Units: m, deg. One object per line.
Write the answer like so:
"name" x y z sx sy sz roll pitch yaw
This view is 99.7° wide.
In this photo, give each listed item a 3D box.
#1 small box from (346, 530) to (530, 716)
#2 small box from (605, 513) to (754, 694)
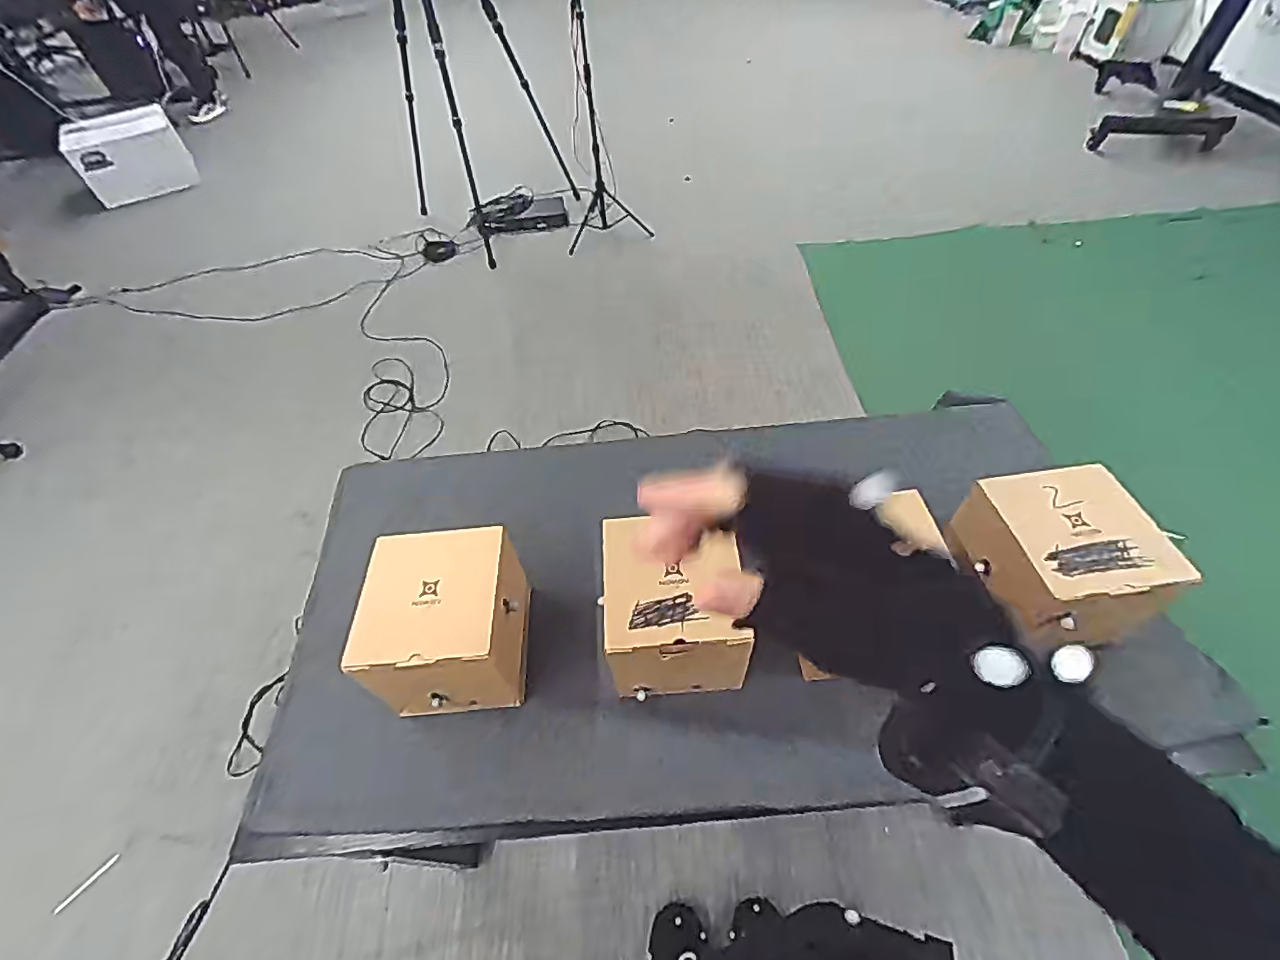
"small box" -0.242 0.187 0.703 0.168 0.176 0.179 -5 51 -1
"small box" 0.046 0.166 0.699 0.168 0.176 0.179 -4 51 1
